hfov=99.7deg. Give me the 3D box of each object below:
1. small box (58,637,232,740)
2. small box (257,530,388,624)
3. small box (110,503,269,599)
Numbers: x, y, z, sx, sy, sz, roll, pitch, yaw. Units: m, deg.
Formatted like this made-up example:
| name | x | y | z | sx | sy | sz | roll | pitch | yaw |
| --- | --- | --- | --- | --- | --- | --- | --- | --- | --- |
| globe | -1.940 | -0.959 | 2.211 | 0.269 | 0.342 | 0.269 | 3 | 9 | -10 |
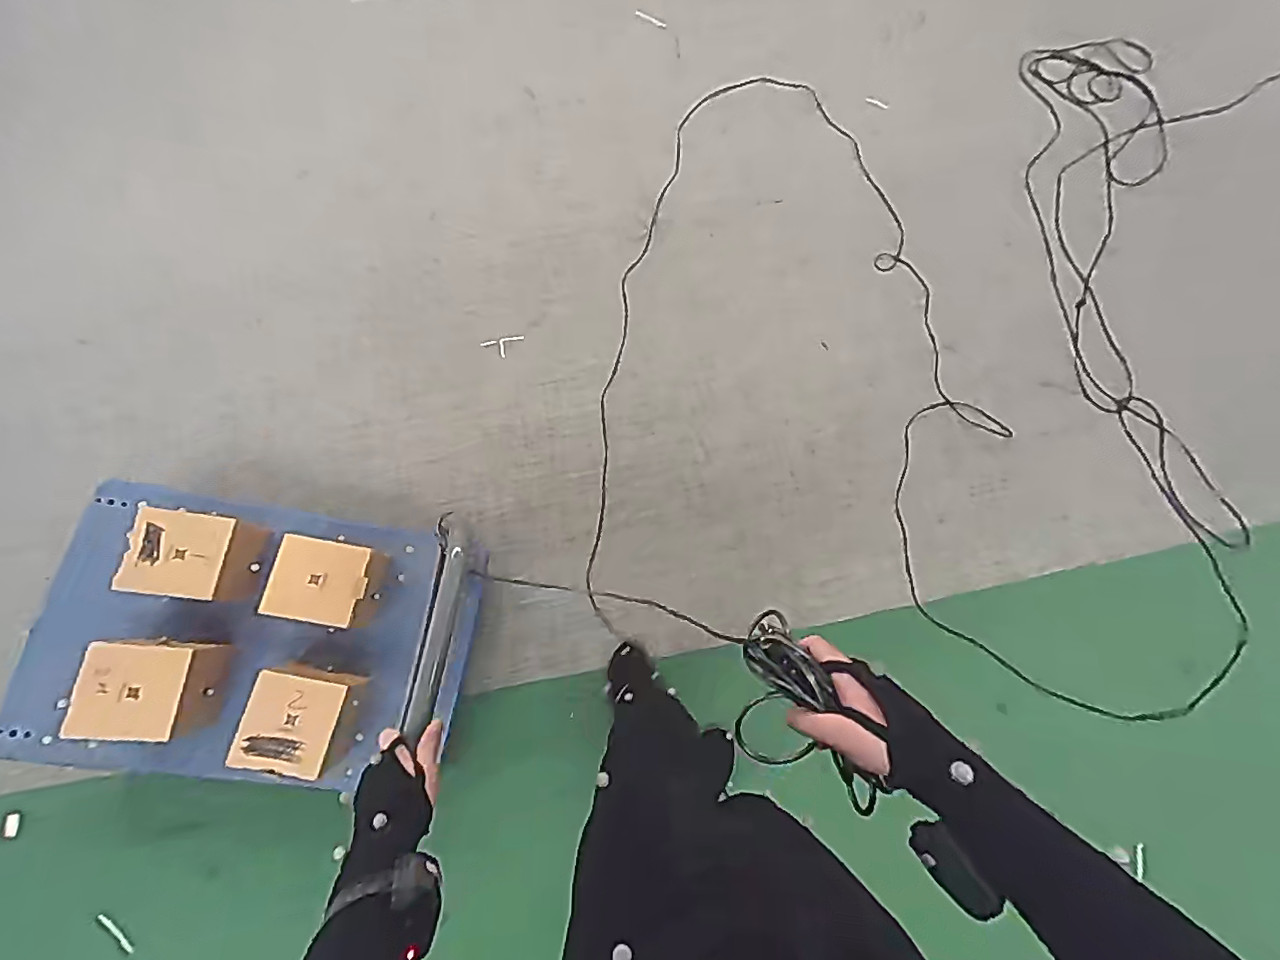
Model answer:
| name | x | y | z | sx | sy | sz | roll | pitch | yaw |
| --- | --- | --- | --- | --- | --- | --- | --- | --- | --- |
| small box | -0.954 | 0.403 | 1.065 | 0.179 | 0.176 | 0.168 | 7 | 75 | -10 |
| small box | -0.674 | 0.215 | 1.173 | 0.179 | 0.176 | 0.168 | 12 | 74 | -10 |
| small box | -0.926 | 0.156 | 1.131 | 0.179 | 0.176 | 0.168 | 10 | 75 | -11 |
